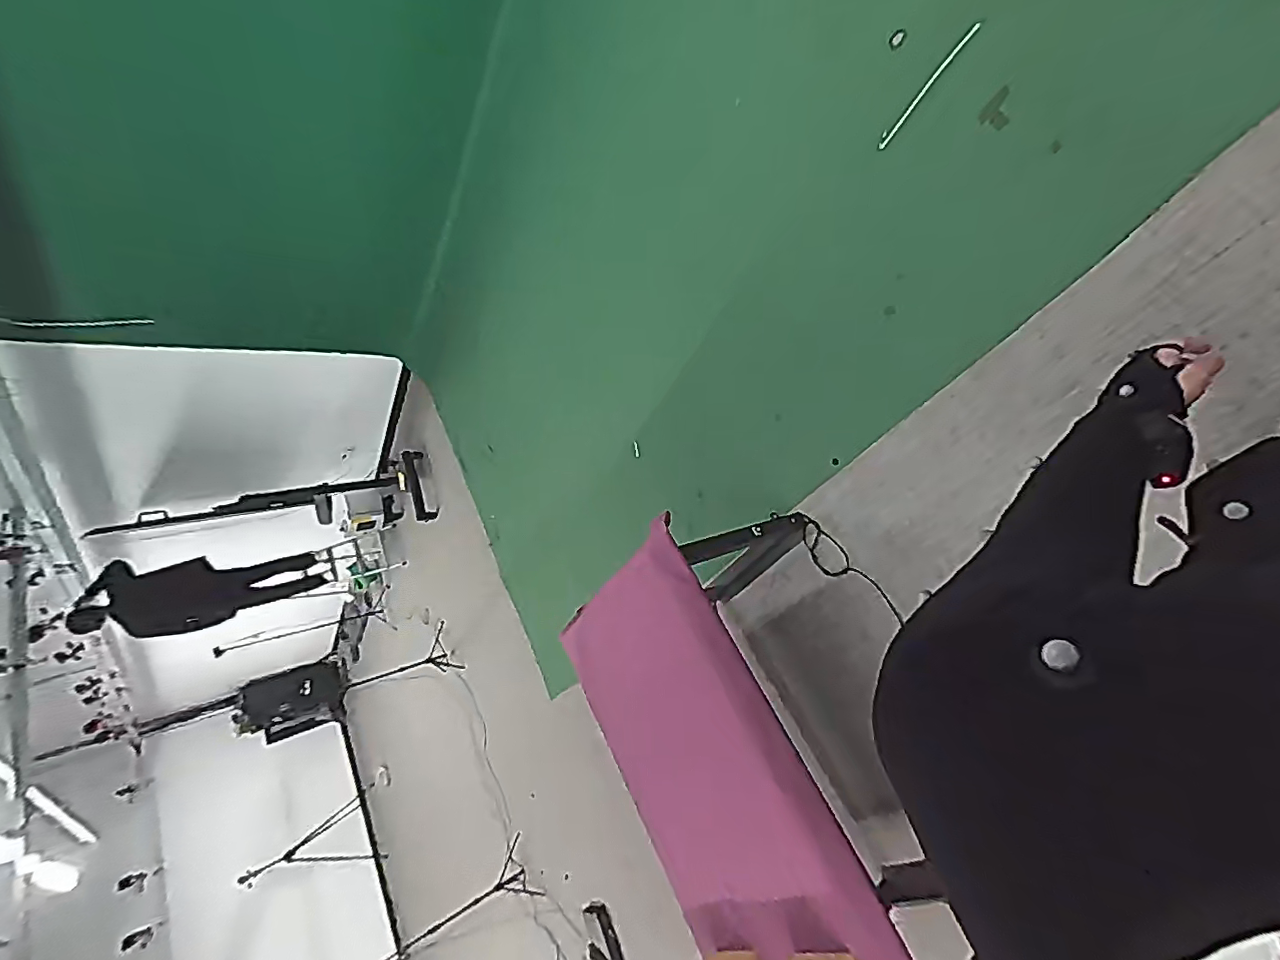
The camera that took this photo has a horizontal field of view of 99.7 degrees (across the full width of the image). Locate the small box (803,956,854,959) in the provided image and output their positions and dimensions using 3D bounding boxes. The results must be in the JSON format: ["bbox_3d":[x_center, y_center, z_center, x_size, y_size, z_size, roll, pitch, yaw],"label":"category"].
[{"bbox_3d":[0.371,1.069,1.048,0.179,0.176,0.168,-52,58,42],"label":"small box"}]
